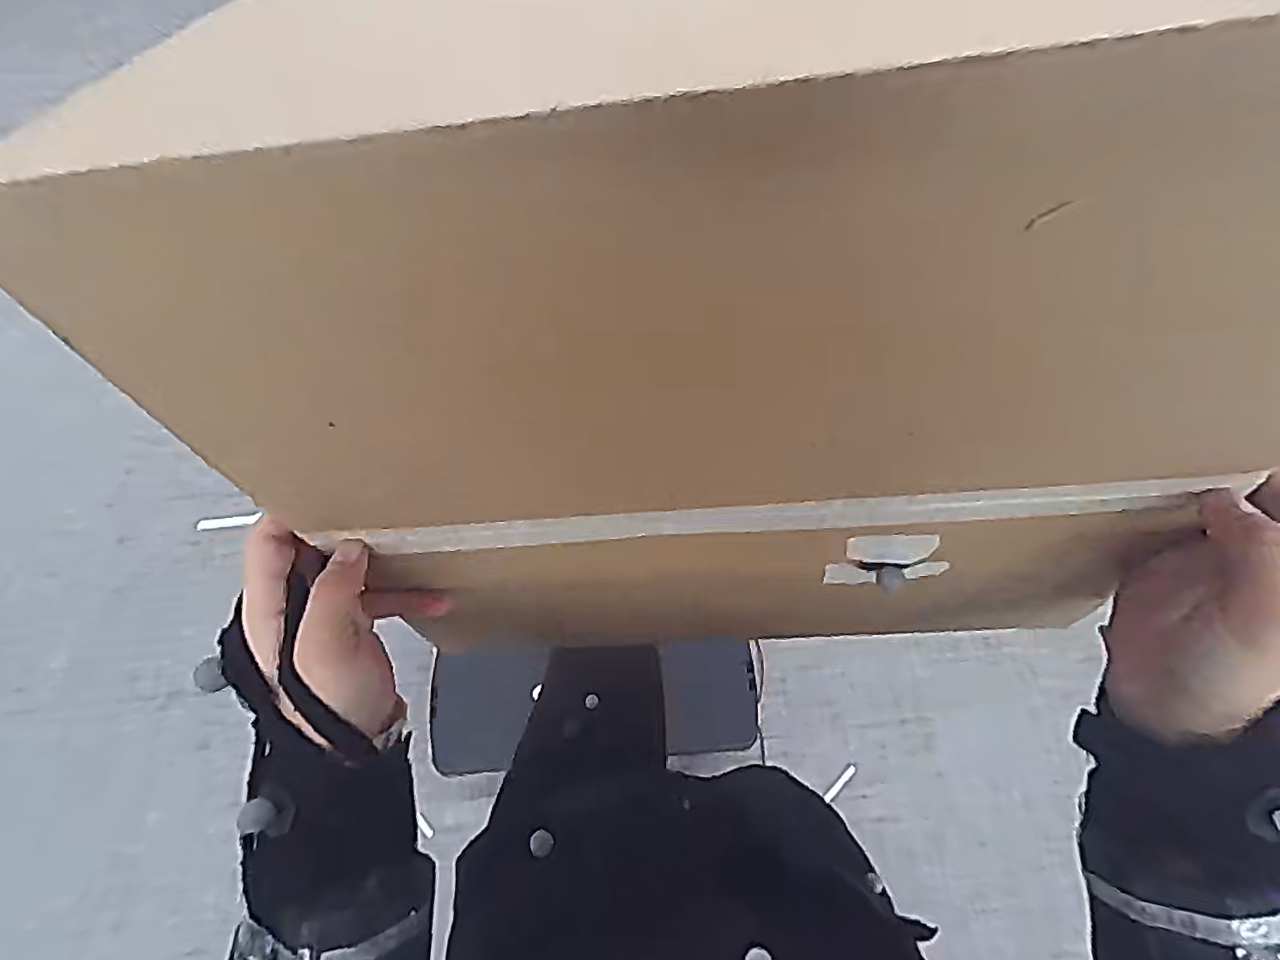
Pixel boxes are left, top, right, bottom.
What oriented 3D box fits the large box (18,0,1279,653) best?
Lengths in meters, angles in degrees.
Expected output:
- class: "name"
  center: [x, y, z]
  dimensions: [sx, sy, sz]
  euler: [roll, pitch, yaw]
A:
- class: "large box"
  center: [0.038, -0.107, 0.336]
  dimensions: [0.408, 0.320, 0.320]
  euler: [-5, 53, 5]
